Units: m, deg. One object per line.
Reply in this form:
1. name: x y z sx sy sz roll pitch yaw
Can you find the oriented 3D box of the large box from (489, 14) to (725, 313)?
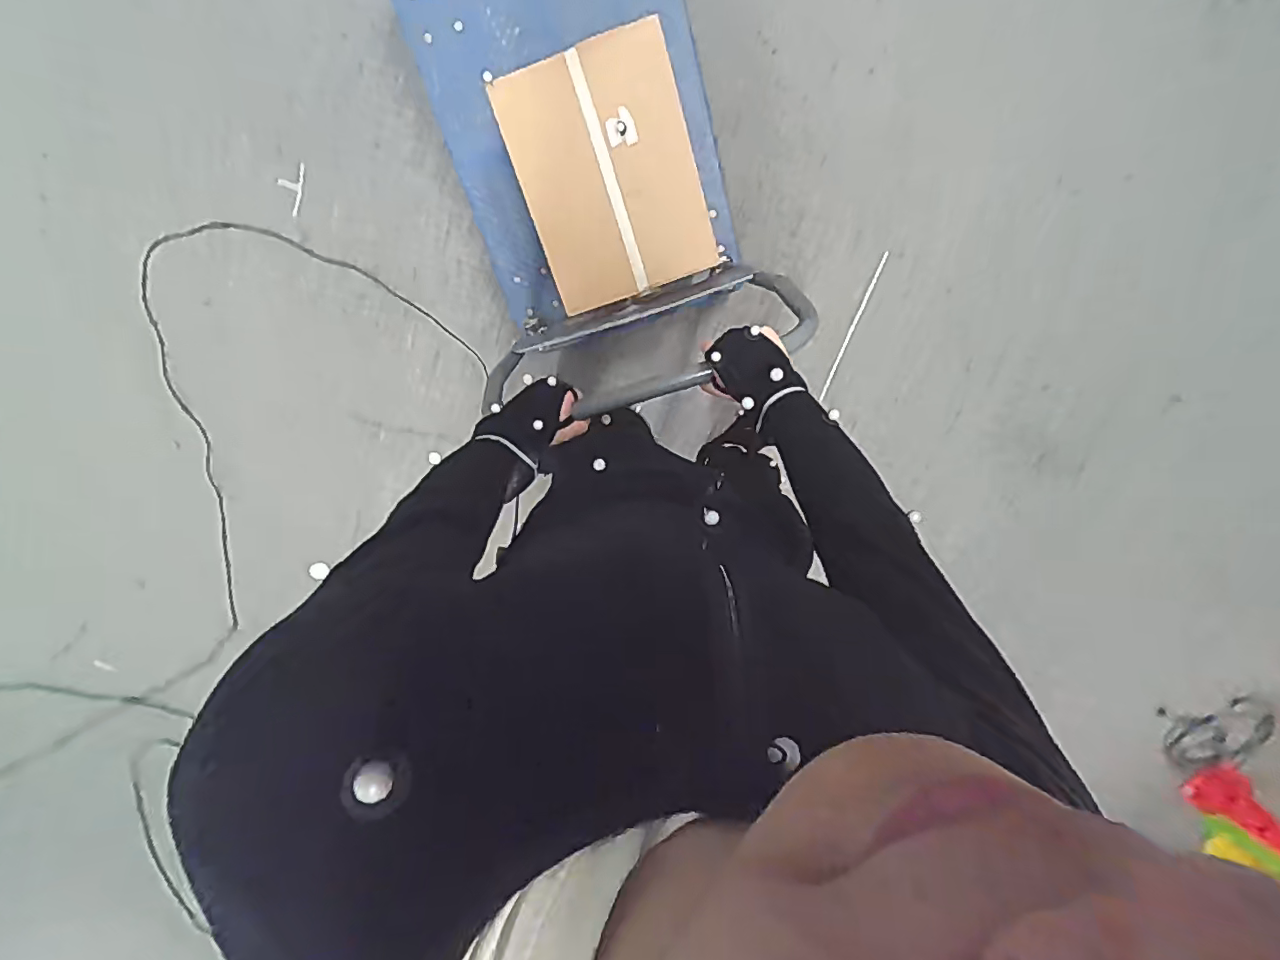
1. large box: -0.047 -0.592 1.100 0.320 0.320 0.408 -18 110 5
